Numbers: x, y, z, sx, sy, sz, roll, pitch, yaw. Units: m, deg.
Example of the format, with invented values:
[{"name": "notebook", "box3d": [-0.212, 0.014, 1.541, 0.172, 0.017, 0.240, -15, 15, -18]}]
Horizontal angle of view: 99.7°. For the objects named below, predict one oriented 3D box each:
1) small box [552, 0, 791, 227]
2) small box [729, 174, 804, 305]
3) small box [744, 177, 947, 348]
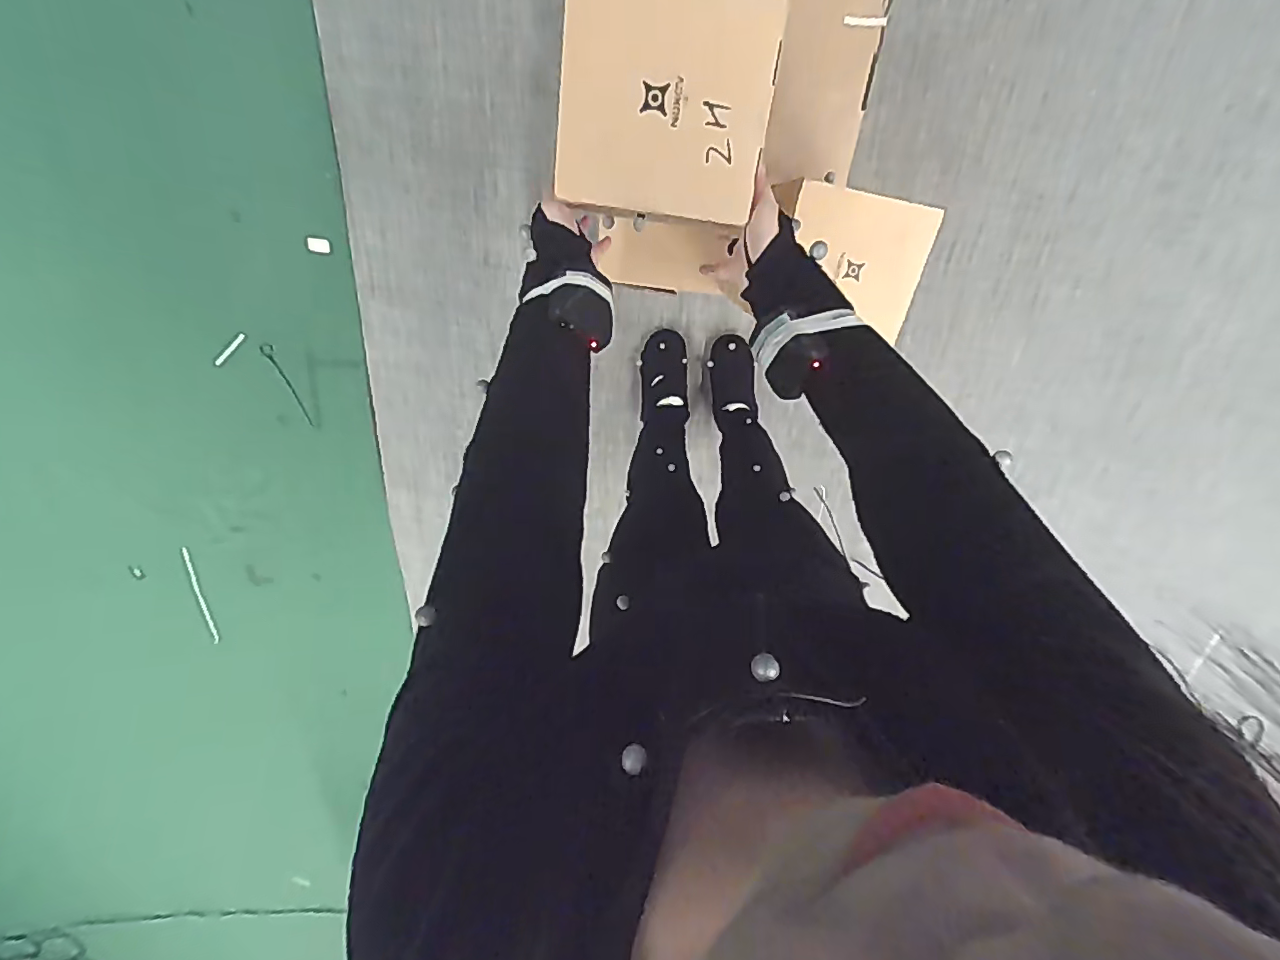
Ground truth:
[{"name": "small box", "box3d": [0.023, -0.342, 0.513, 0.179, 0.176, 0.168, 8, 114, -1]}, {"name": "small box", "box3d": [0.246, -0.366, 0.859, 0.168, 0.176, 0.179, 9, 114, -4]}, {"name": "small box", "box3d": [0.253, -0.288, 0.716, 0.179, 0.176, 0.168, 10, 115, -4]}]
